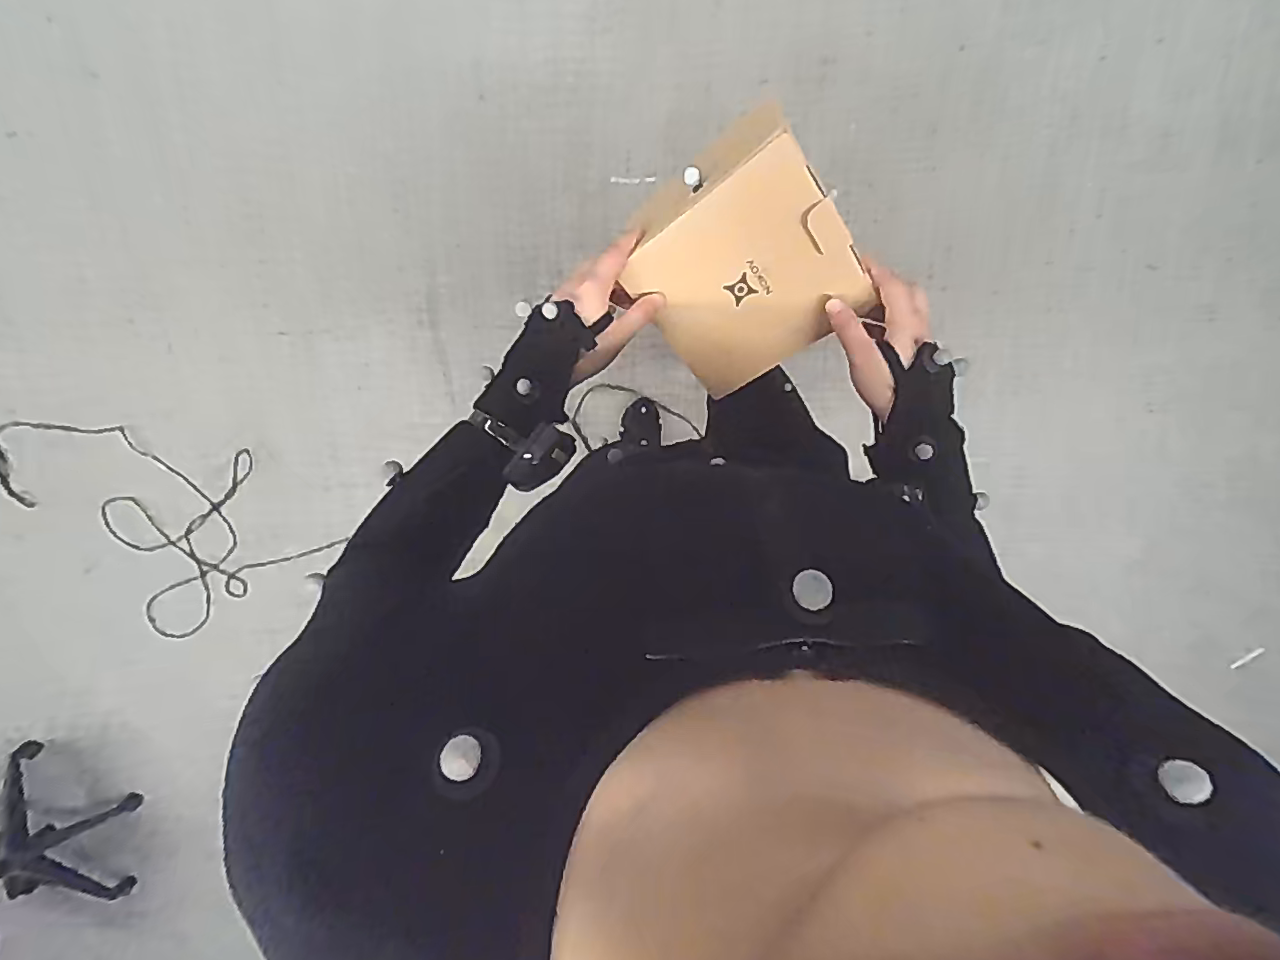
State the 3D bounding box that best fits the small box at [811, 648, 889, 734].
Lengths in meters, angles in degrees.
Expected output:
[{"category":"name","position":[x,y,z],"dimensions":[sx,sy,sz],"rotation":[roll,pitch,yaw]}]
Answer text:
[{"category":"small box","position":[0.589,0.593,1.530],"dimensions":[0.179,0.176,0.168],"rotation":[-3,104,4]}]
